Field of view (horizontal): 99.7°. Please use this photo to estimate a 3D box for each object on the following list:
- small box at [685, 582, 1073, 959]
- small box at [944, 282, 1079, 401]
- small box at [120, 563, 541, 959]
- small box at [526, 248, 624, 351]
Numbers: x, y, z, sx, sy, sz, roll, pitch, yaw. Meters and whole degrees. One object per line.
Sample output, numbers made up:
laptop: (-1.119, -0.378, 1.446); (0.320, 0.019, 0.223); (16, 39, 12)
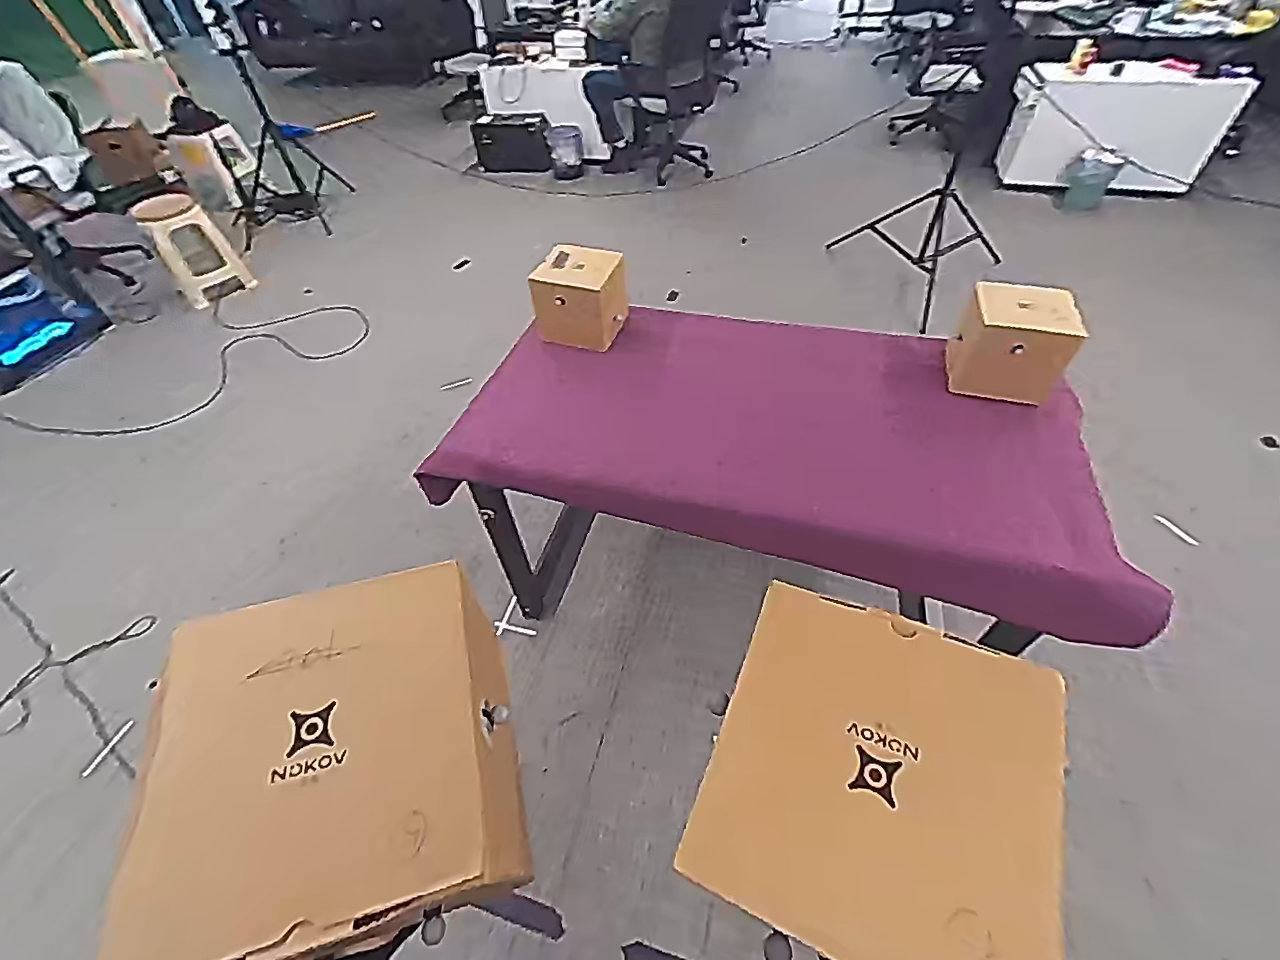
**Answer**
small box: (0.143, 0.201, 0.347); (0.168, 0.176, 0.179); (15, 55, 22)
small box: (0.747, -0.283, 1.114); (0.179, 0.176, 0.168); (12, 51, 12)
small box: (-0.166, 0.184, 0.351); (0.168, 0.176, 0.179); (-12, 54, -11)
small box: (-0.146, -0.430, 1.295); (0.179, 0.176, 0.168); (13, 52, 13)
